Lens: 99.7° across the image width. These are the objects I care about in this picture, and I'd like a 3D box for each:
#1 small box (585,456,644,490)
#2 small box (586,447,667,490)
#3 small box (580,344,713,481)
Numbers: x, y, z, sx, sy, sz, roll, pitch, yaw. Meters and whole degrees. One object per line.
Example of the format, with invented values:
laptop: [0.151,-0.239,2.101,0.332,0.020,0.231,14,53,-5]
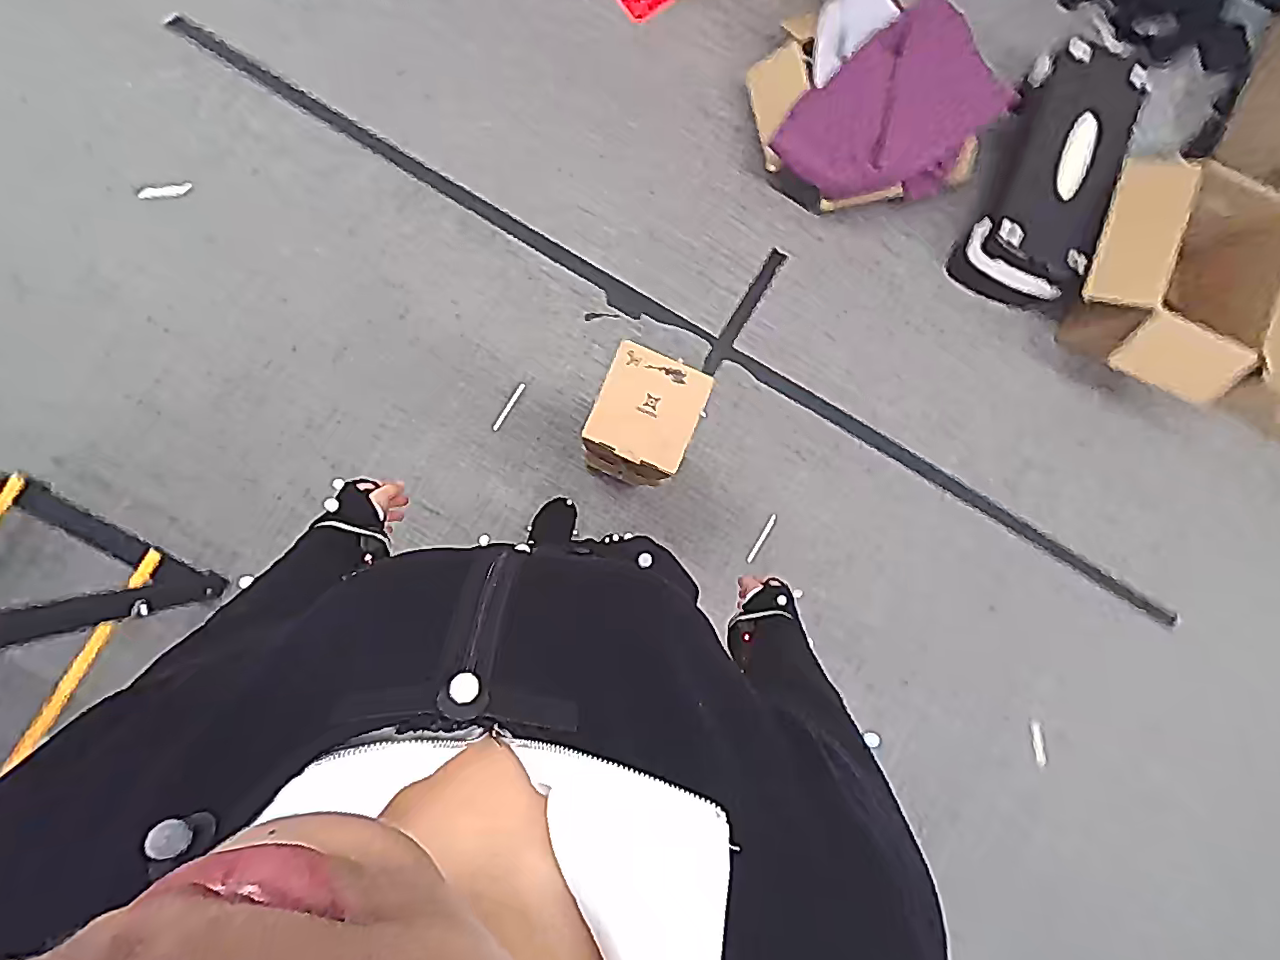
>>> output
small box: [-0.038,-0.083,1.436,0.168,0.176,0.179,24,87,-2]
small box: [-0.002,-0.090,1.108,0.168,0.176,0.179,23,86,-2]
small box: [0.009,-0.106,0.946,0.168,0.176,0.179,23,87,-2]
